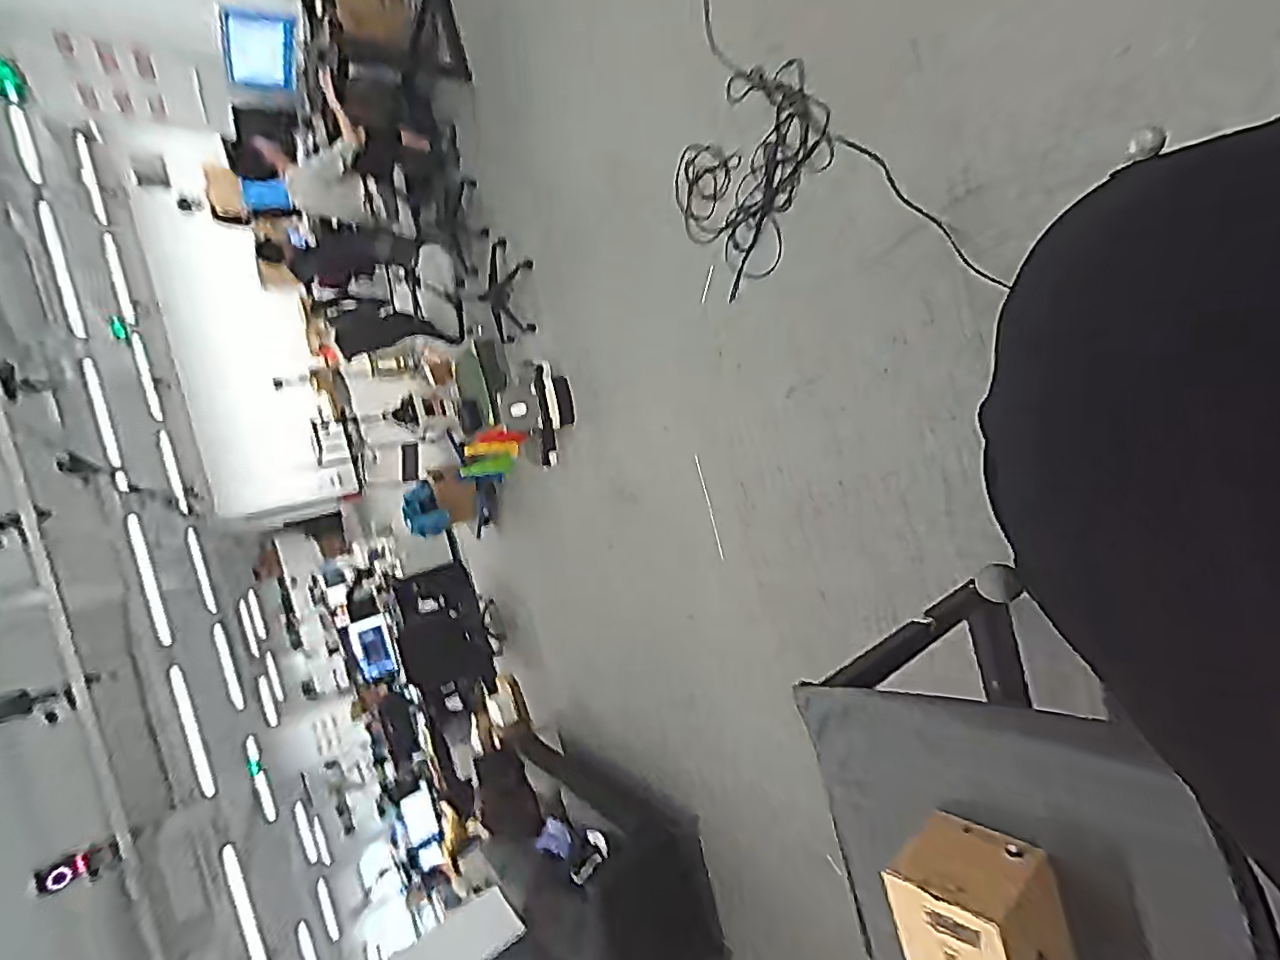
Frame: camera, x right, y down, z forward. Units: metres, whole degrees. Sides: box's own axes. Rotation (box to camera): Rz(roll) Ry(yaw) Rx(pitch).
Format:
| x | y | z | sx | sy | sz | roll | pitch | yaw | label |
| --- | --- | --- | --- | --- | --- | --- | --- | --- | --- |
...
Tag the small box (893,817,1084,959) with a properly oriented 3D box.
| x | y | z | sx | sy | sz | roll | pitch | yaw | label |
| --- | --- | --- | --- | --- | --- | --- | --- | --- | --- |
| 0.510 | 0.644 | 0.794 | 0.168 | 0.176 | 0.179 | -14 | 92 | 57 | small box |
